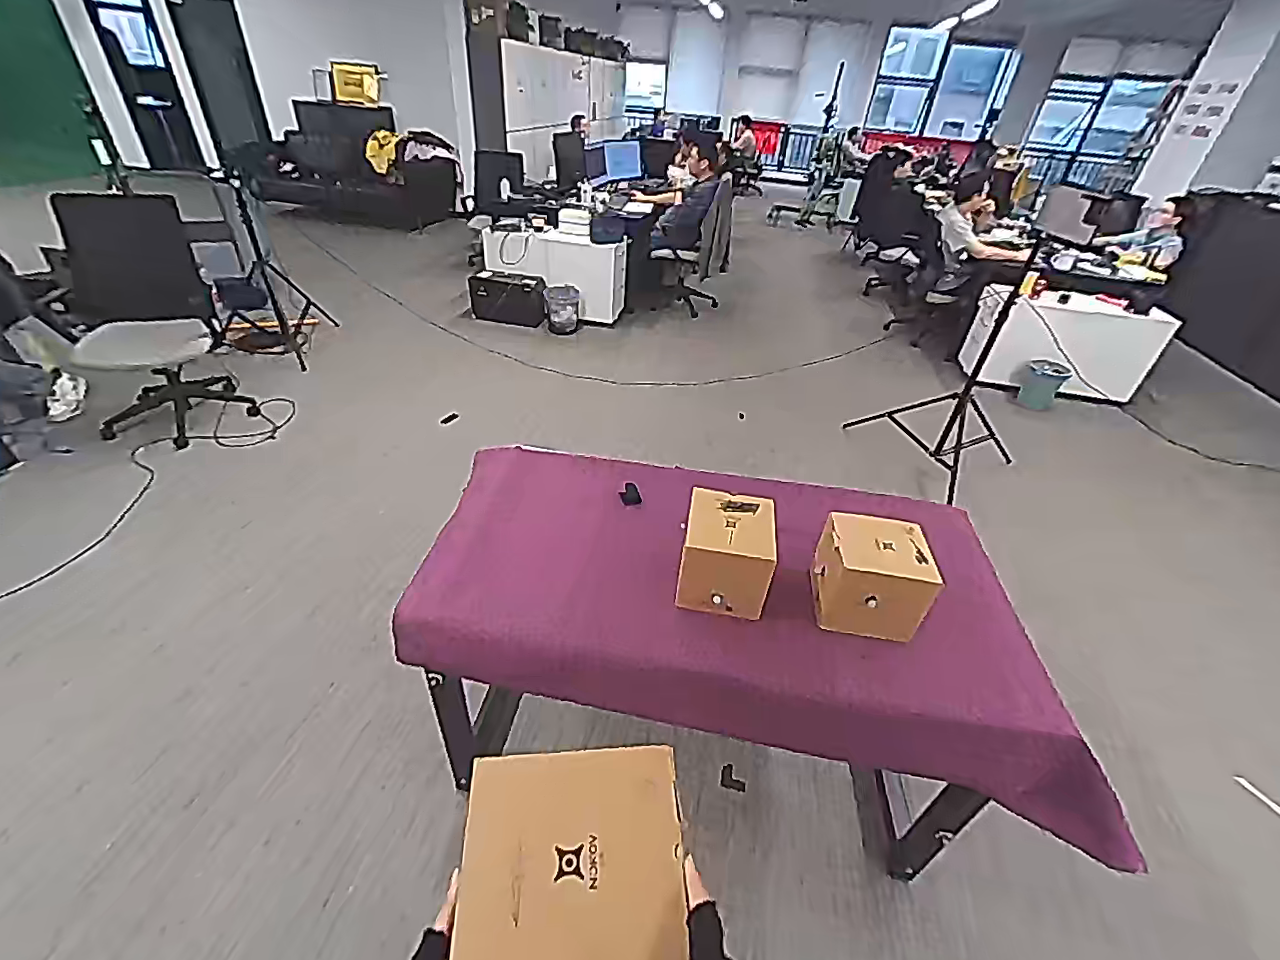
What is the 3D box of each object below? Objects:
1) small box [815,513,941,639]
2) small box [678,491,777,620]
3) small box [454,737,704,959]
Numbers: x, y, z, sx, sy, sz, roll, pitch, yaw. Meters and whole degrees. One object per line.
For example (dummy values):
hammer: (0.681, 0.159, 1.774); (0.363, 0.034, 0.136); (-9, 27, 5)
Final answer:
small box: (0.449, 0.188, 1.056); (0.179, 0.176, 0.168); (7, 36, 5)
small box: (0.172, 0.148, 1.079); (0.168, 0.176, 0.179); (8, 36, 5)
small box: (-0.050, 0.348, 0.476); (0.179, 0.176, 0.168); (-3, 43, -4)
